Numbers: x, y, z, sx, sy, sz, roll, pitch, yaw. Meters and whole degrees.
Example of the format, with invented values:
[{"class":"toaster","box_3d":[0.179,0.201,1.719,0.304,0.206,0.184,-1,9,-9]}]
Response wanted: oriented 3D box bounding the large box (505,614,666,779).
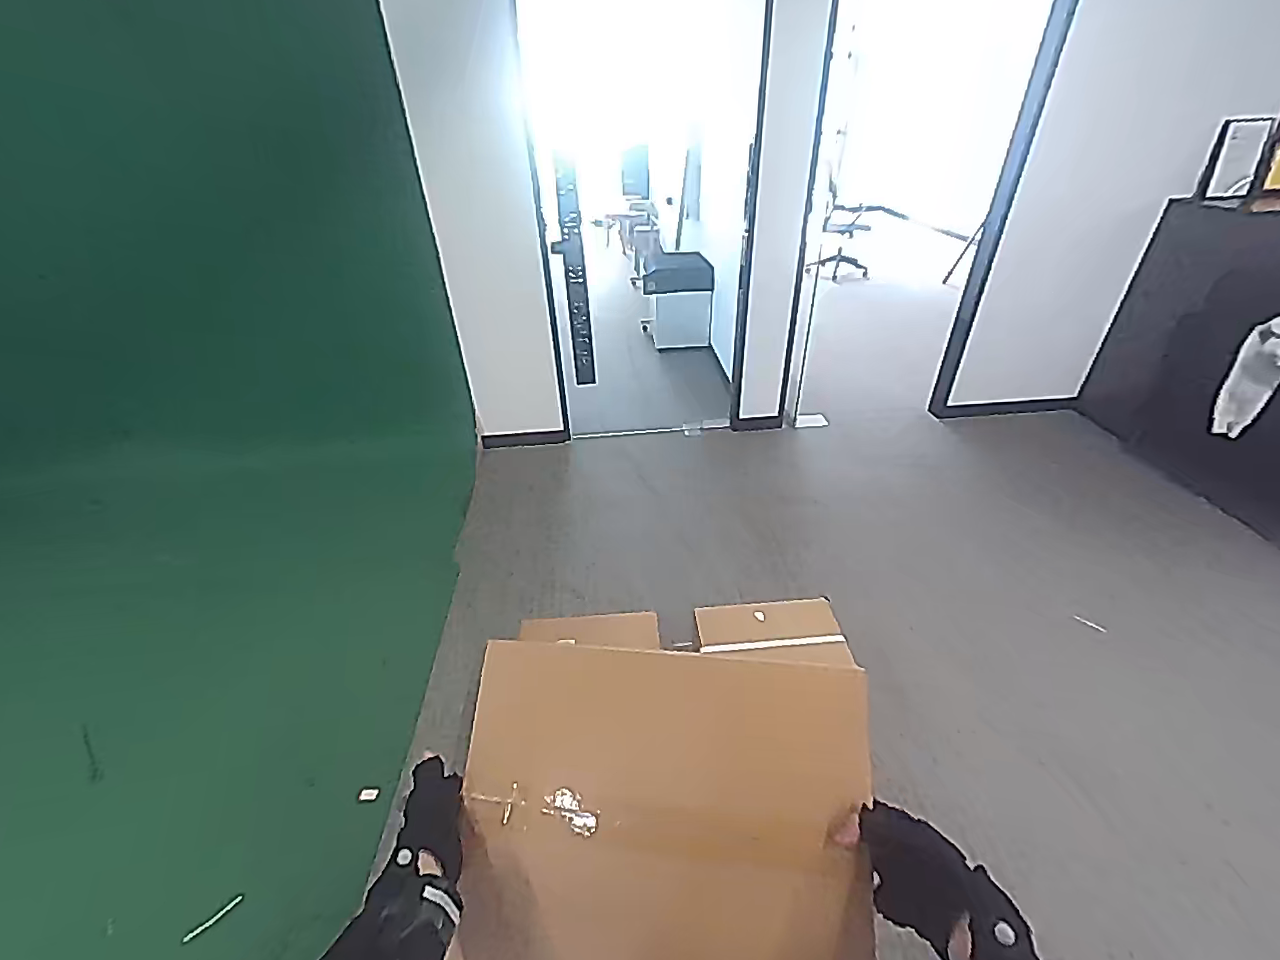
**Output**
[{"class":"large box","box_3d":[-0.142,0.622,1.560,0.408,0.320,0.320,-4,34,-1]}]
